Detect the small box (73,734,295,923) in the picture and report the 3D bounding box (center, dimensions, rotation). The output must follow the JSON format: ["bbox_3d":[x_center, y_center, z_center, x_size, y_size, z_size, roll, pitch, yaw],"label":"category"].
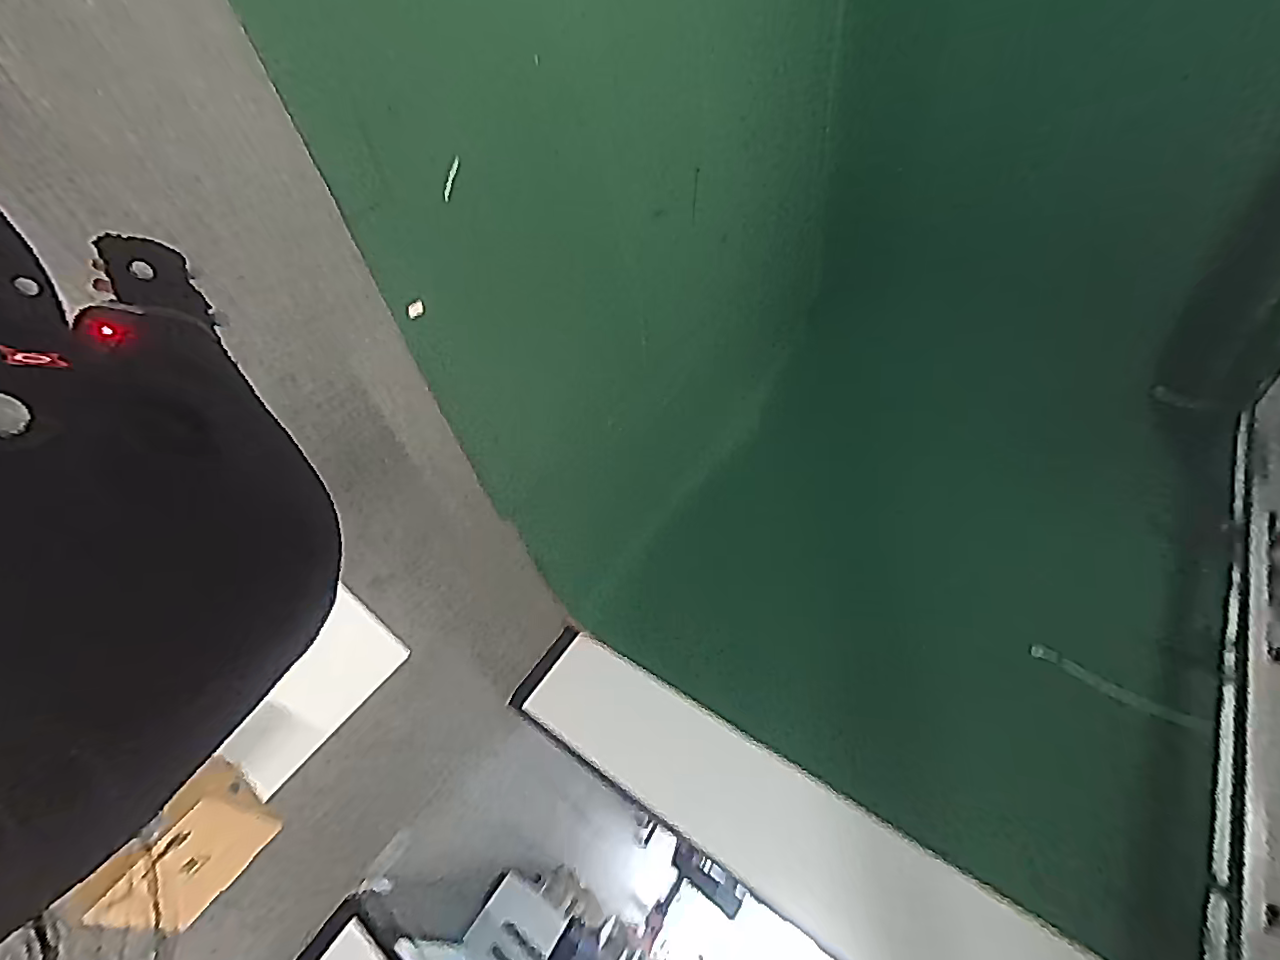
[{"bbox_3d":[-0.684,0.522,0.822,0.168,0.176,0.179,-49,145,-29],"label":"small box"}]
